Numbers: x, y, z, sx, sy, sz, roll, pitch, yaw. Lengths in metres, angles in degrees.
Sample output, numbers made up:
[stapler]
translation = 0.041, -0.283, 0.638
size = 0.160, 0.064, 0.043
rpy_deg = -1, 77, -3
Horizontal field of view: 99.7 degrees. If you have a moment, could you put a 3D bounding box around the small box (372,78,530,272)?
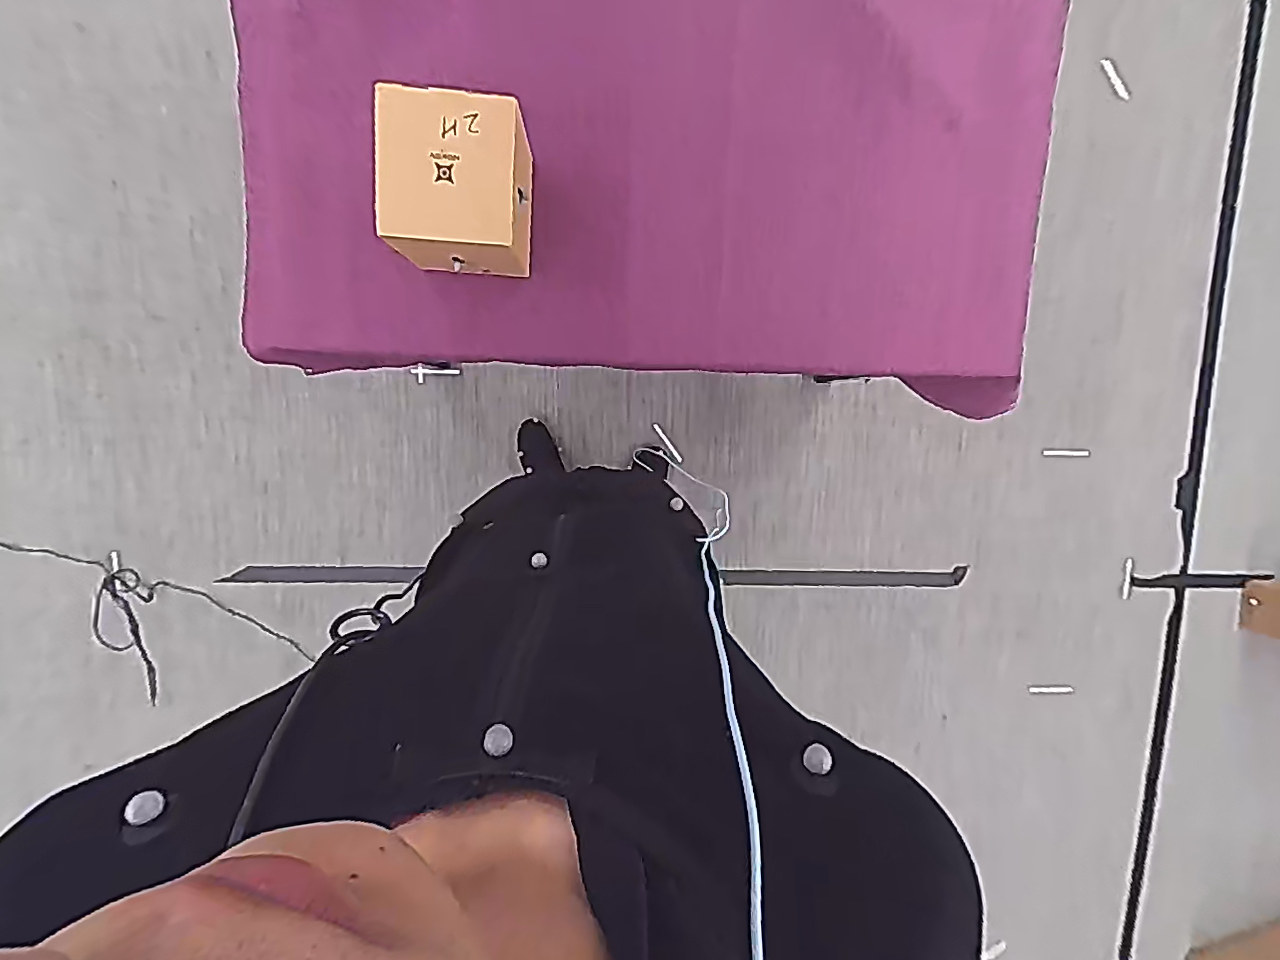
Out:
[small box]
translation = -0.243, -0.391, 0.728
size = 0.168, 0.176, 0.179
rpy_deg = 3, 98, -5
